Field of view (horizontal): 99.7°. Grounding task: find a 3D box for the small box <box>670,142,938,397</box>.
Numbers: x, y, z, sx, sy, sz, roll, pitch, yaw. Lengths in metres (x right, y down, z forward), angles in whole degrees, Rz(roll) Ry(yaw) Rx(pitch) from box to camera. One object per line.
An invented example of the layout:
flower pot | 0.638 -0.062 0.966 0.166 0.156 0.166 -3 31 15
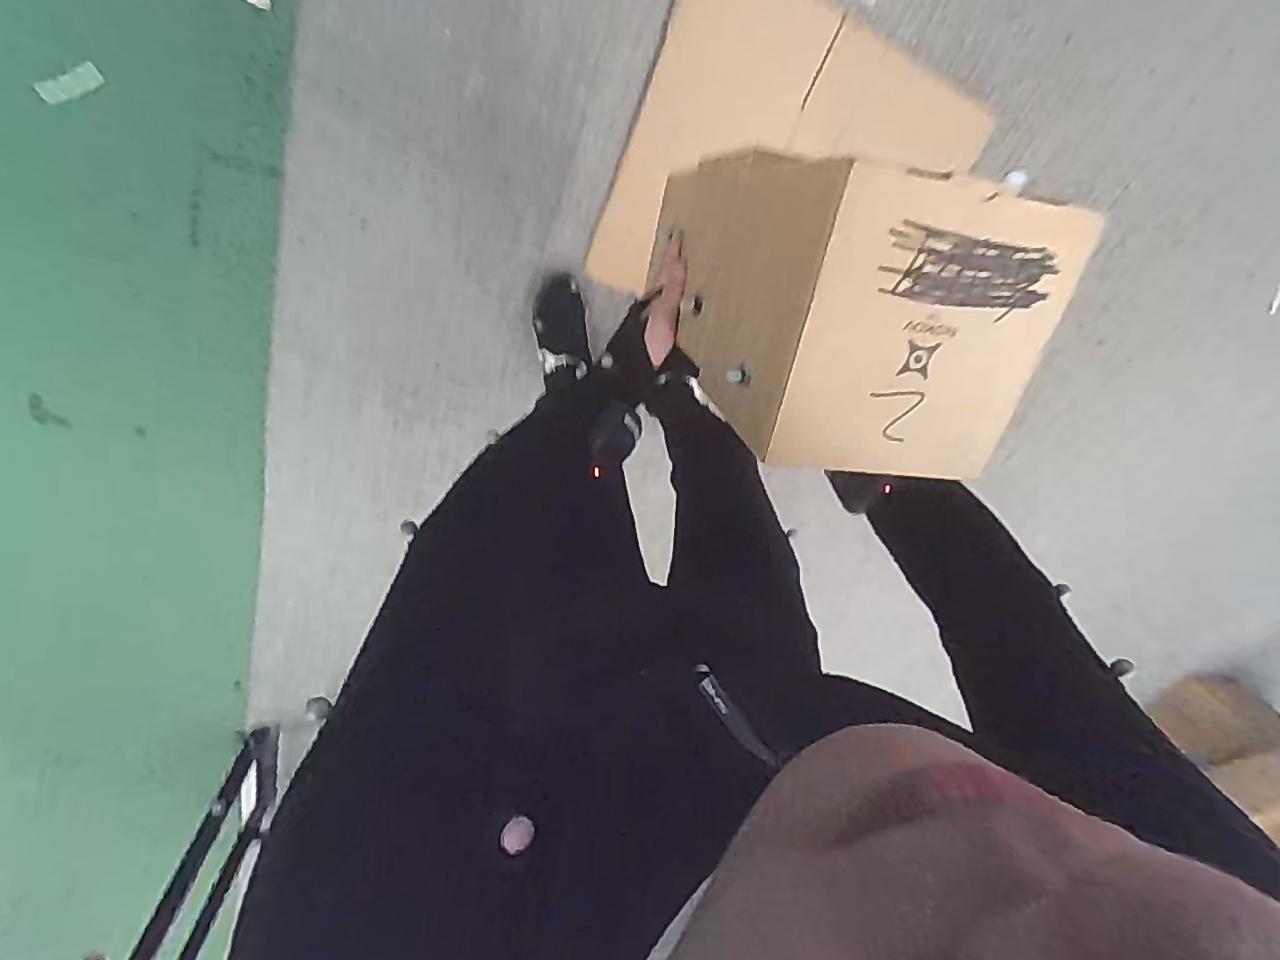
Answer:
small box | 0.134 -0.200 0.523 0.168 0.176 0.179 7 115 -14

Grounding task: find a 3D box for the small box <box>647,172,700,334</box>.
small box | 0.112 -0.271 0.671 0.168 0.176 0.179 7 115 -12
